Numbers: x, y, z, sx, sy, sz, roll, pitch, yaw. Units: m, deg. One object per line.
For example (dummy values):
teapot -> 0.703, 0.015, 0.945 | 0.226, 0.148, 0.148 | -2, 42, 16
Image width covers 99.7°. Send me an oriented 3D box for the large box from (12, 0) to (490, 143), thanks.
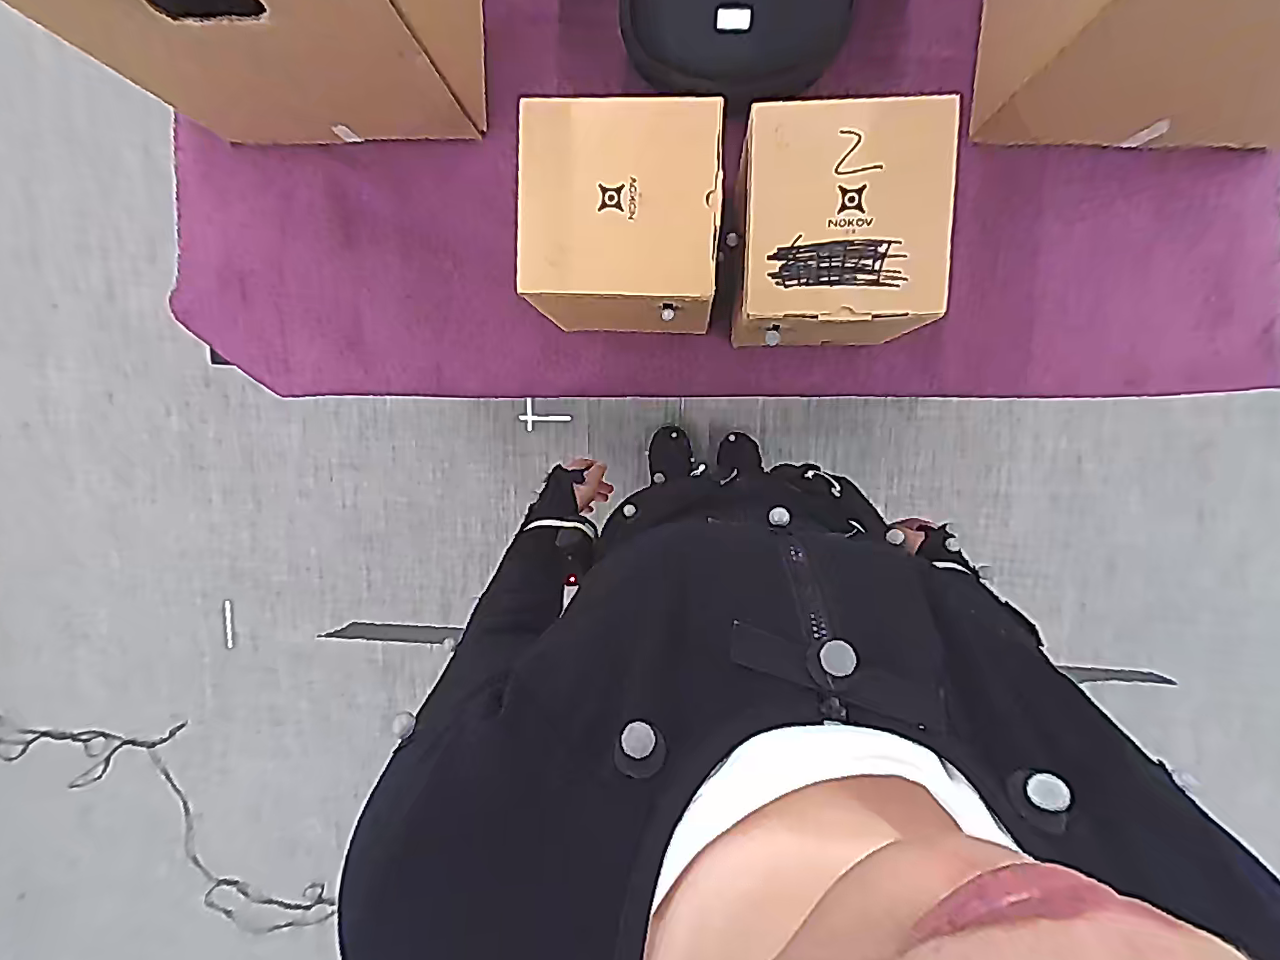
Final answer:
large box -> -0.333, -0.575, 0.462 | 0.320, 0.320, 0.408 | 0, 99, 3
